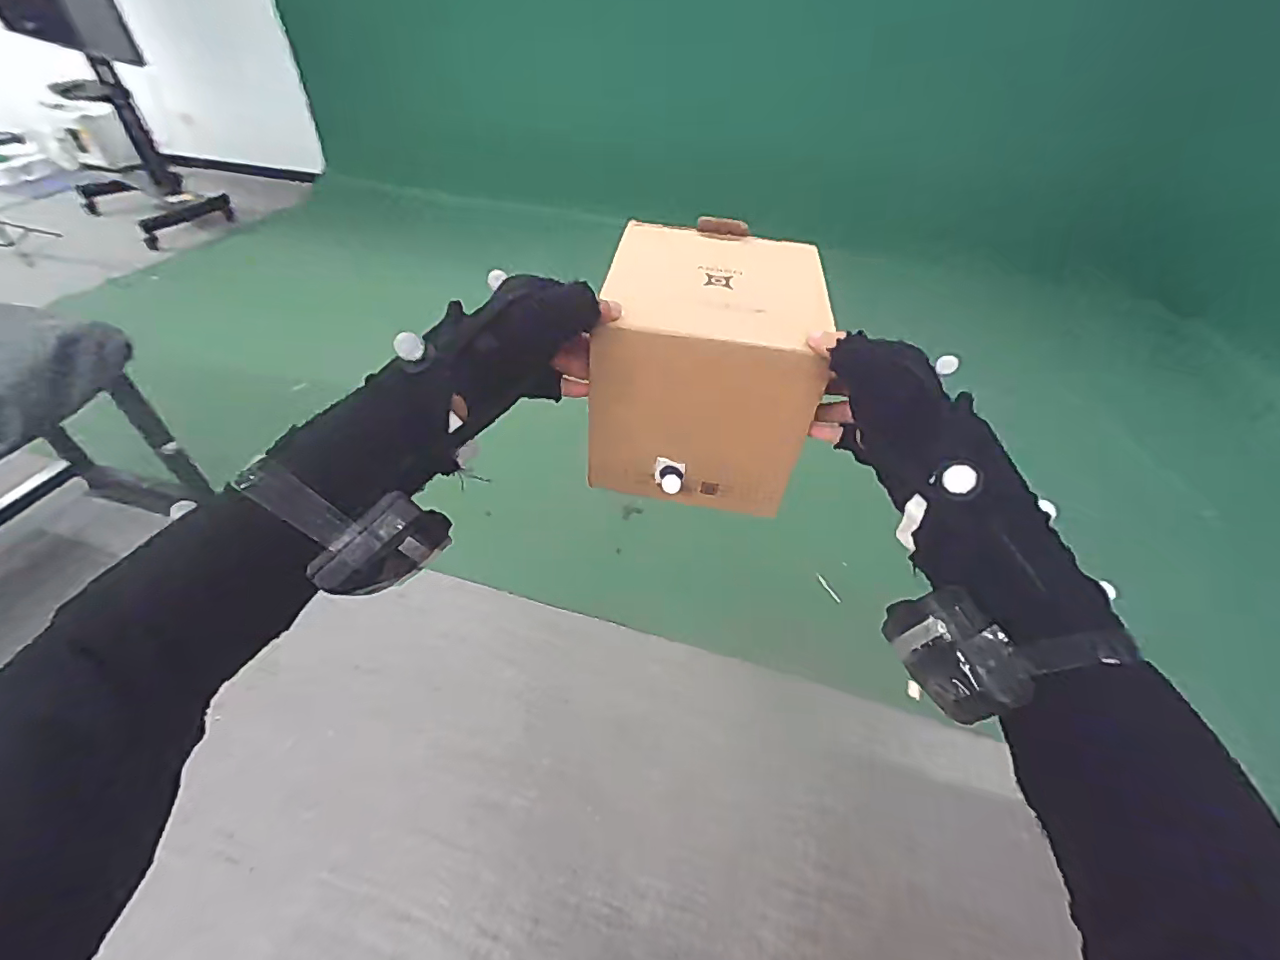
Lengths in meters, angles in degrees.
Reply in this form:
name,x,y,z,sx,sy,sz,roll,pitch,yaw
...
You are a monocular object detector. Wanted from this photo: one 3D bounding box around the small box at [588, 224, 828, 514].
name,x,y,z,sx,sy,sz,roll,pitch,yaw
small box,0.048,-0.097,0.474,0.168,0.176,0.179,7,47,1
